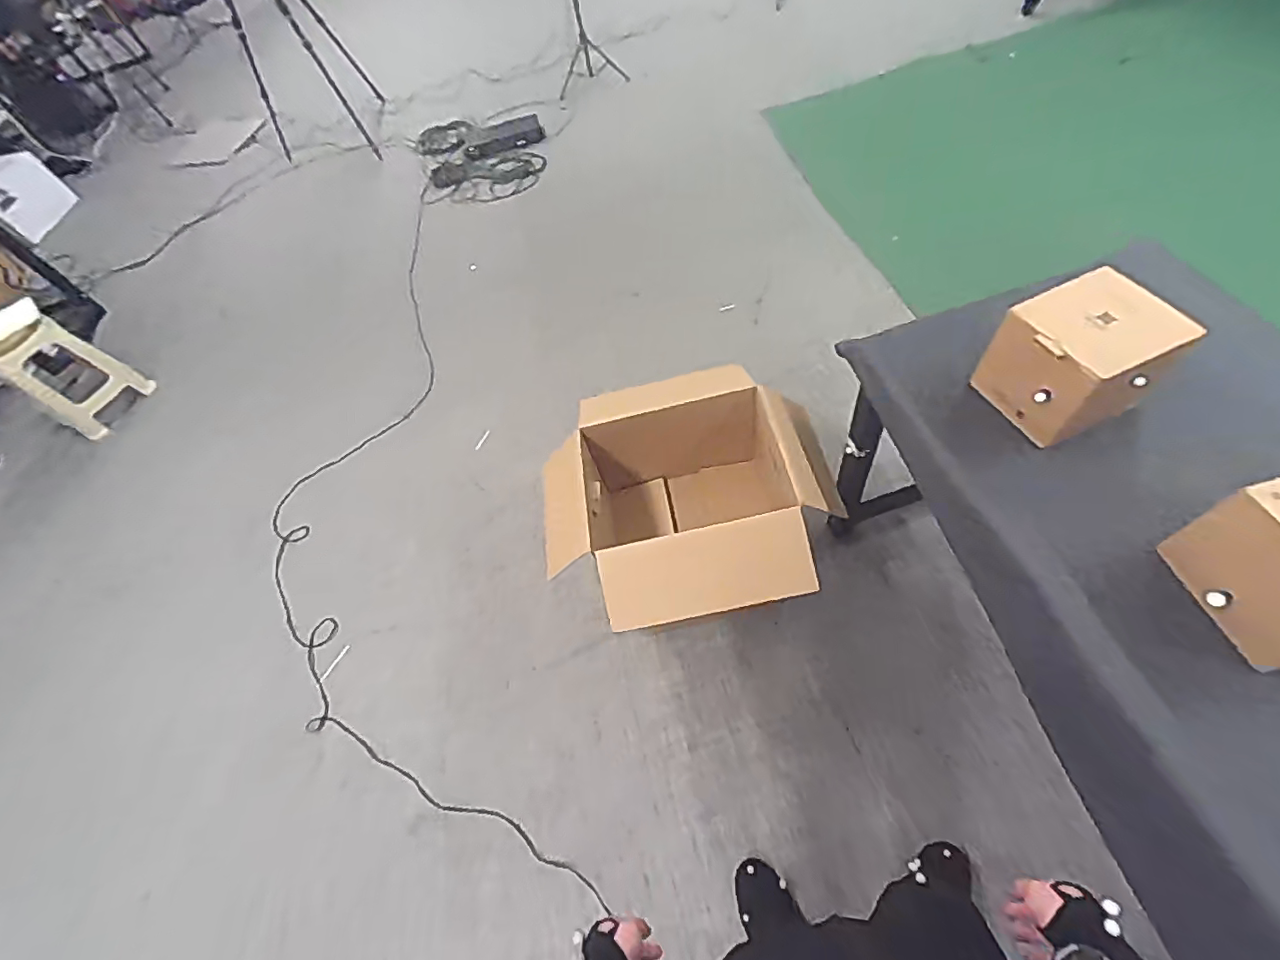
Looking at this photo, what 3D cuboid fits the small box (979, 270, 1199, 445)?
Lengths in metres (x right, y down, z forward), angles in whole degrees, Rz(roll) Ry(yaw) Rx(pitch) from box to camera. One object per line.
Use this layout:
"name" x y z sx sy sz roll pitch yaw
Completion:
"small box" 0.664 -0.181 0.835 0.179 0.176 0.168 -23 58 -6

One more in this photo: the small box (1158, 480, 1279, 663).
"small box" 0.789 0.101 0.631 0.168 0.176 0.179 -16 57 1
